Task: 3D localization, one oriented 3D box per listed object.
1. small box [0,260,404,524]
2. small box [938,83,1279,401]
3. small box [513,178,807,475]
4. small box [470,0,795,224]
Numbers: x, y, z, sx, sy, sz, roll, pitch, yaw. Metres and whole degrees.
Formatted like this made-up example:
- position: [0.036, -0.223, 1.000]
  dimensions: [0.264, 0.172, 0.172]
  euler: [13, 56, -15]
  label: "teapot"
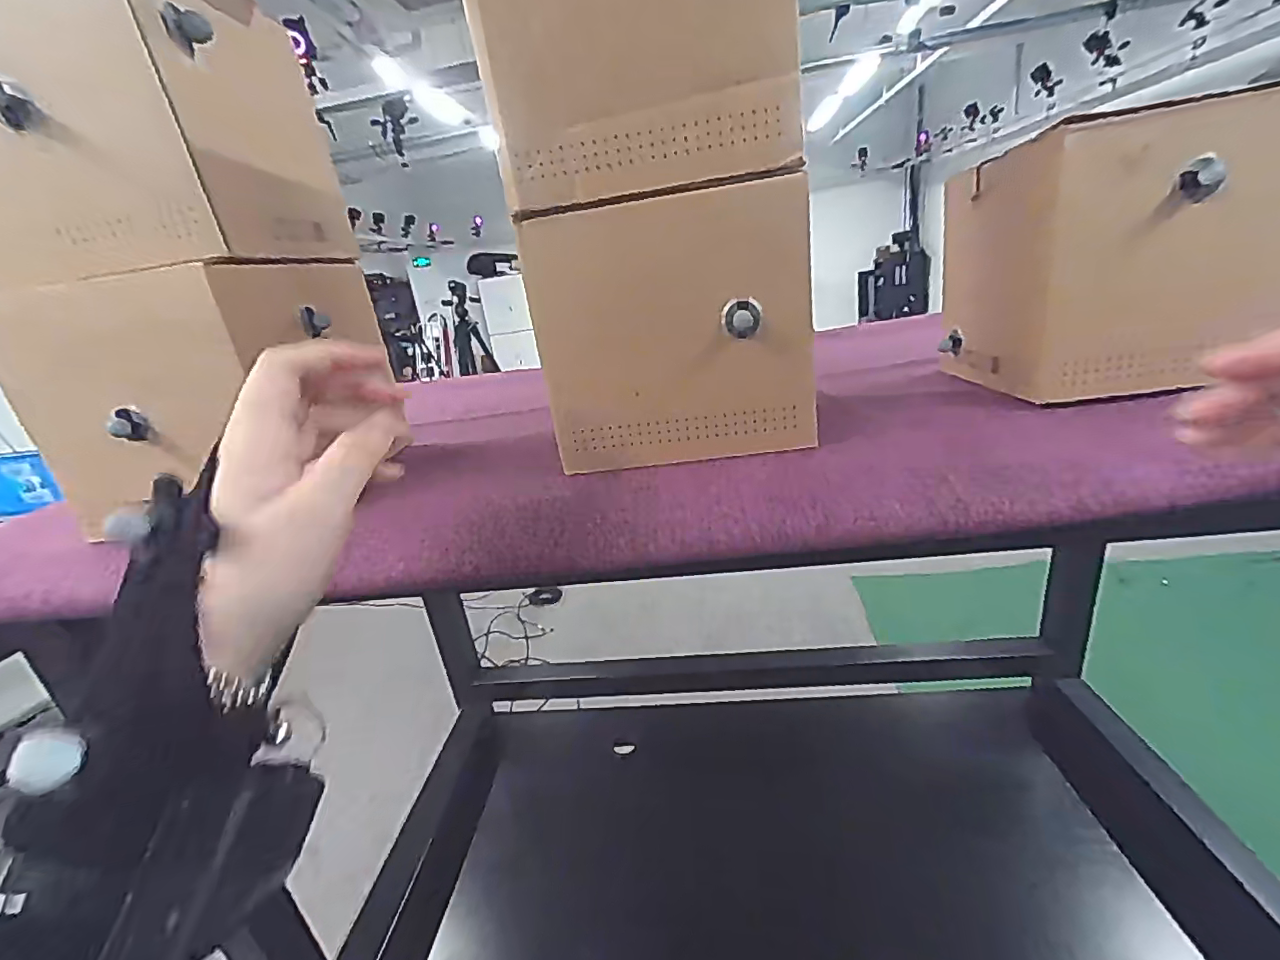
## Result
- position: [-0.314, -0.072, 0.429]
  dimensions: [0.168, 0.176, 0.179]
  euler: [-5, 21, 5]
  label: "small box"
- position: [0.345, -0.159, 0.401]
  dimensions: [0.179, 0.176, 0.168]
  euler: [-6, 18, 9]
  label: "small box"
- position: [0.025, -0.114, 0.417]
  dimensions: [0.179, 0.176, 0.168]
  euler: [-7, 19, 6]
  label: "small box"
- position: [-0.004, -0.266, 0.364]
  dimensions: [0.179, 0.176, 0.168]
  euler: [-7, 20, 4]
  label: "small box"
